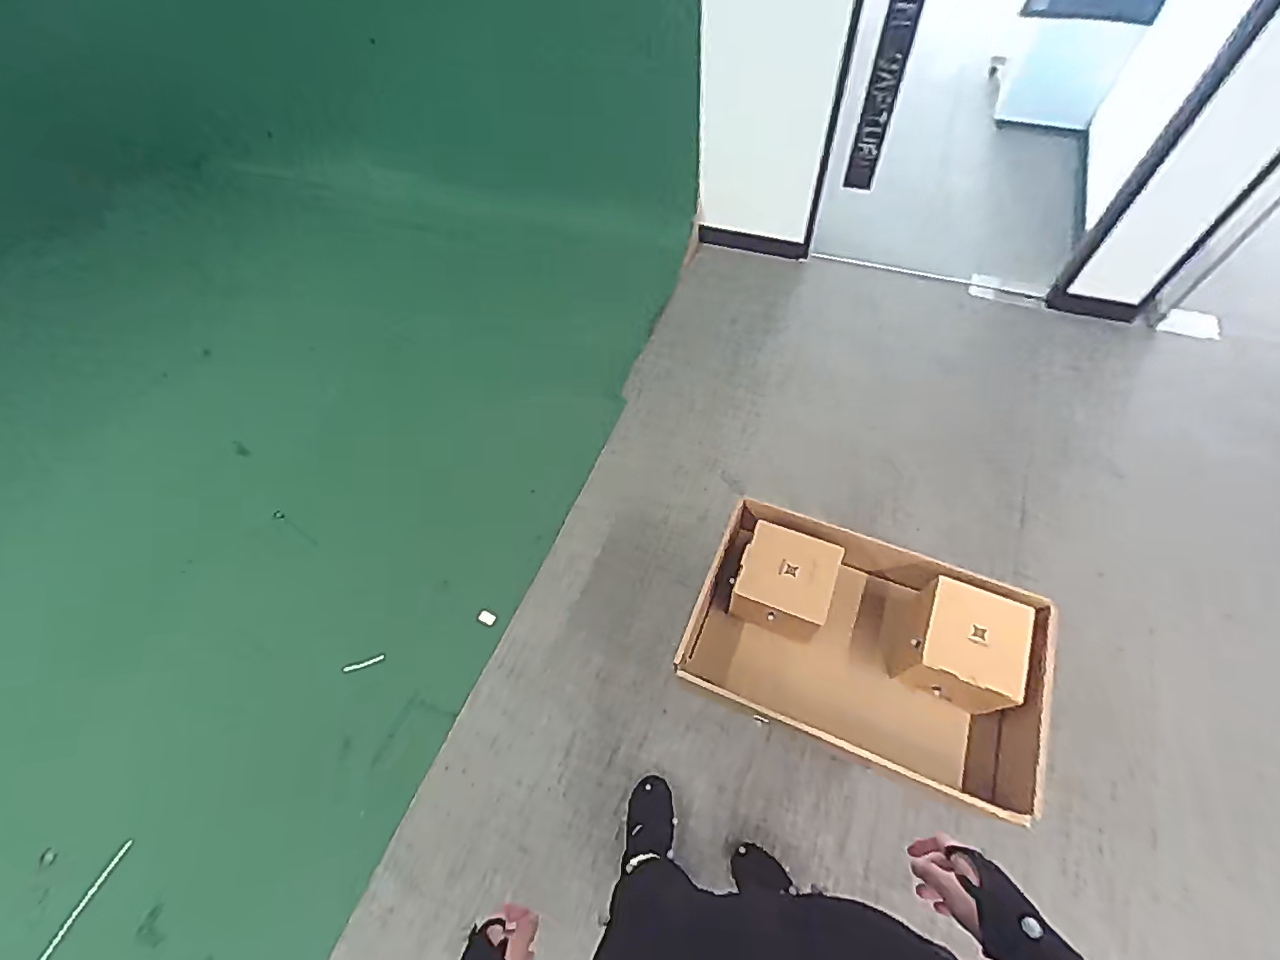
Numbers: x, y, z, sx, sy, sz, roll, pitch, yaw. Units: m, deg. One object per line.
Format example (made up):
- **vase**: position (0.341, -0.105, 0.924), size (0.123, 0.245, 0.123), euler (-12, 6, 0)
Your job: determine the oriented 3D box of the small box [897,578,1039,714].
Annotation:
- **small box**: position (0.608, 0.316, 1.017), size (0.168, 0.176, 0.179), euler (21, 65, 15)
